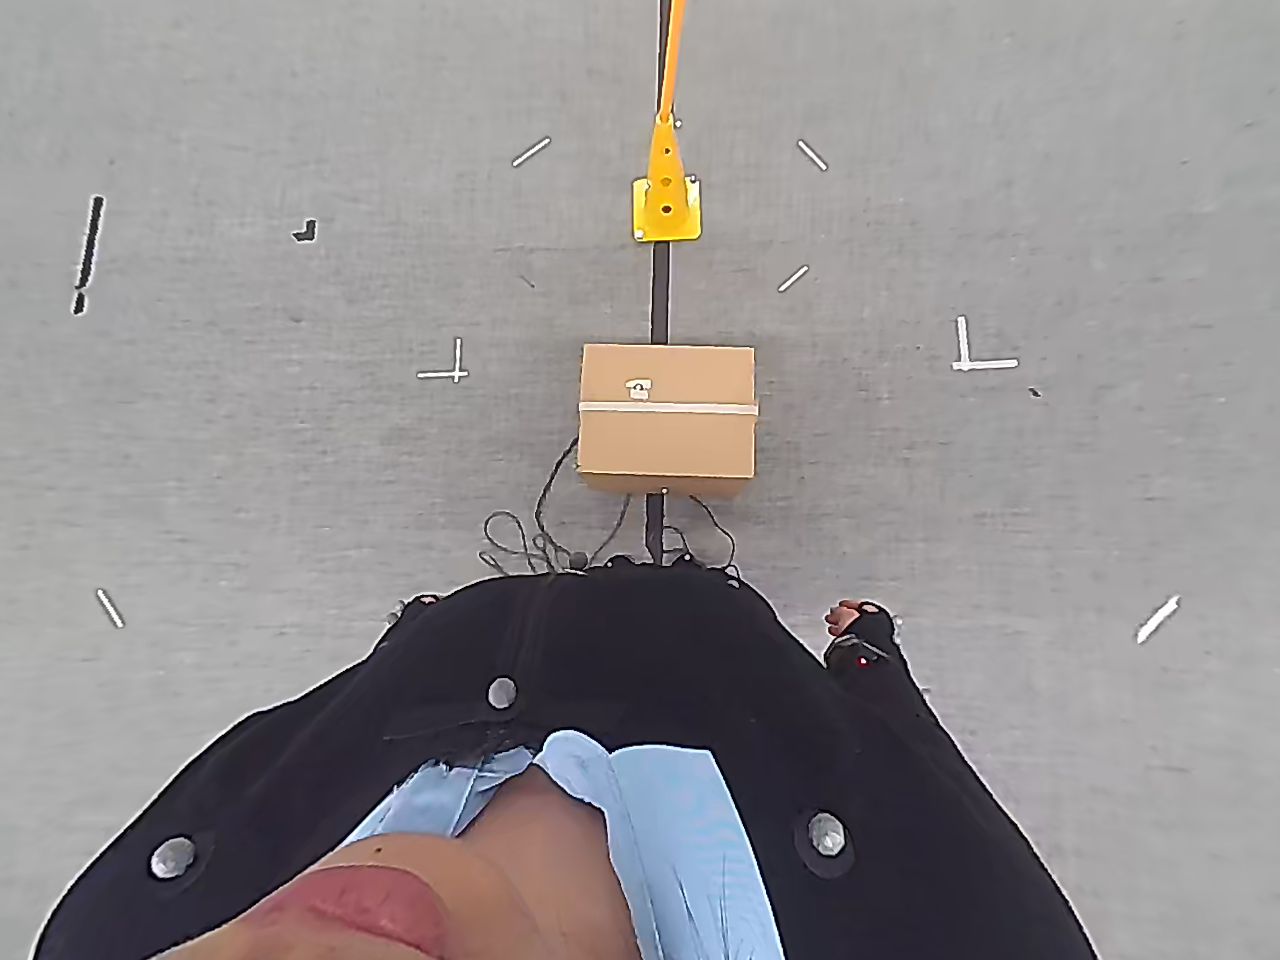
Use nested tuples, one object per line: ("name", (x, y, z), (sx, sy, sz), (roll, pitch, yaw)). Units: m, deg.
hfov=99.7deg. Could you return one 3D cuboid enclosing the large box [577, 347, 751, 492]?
("large box", (0.065, -0.138, 1.404), (0.408, 0.320, 0.320), (1, 80, 3))
